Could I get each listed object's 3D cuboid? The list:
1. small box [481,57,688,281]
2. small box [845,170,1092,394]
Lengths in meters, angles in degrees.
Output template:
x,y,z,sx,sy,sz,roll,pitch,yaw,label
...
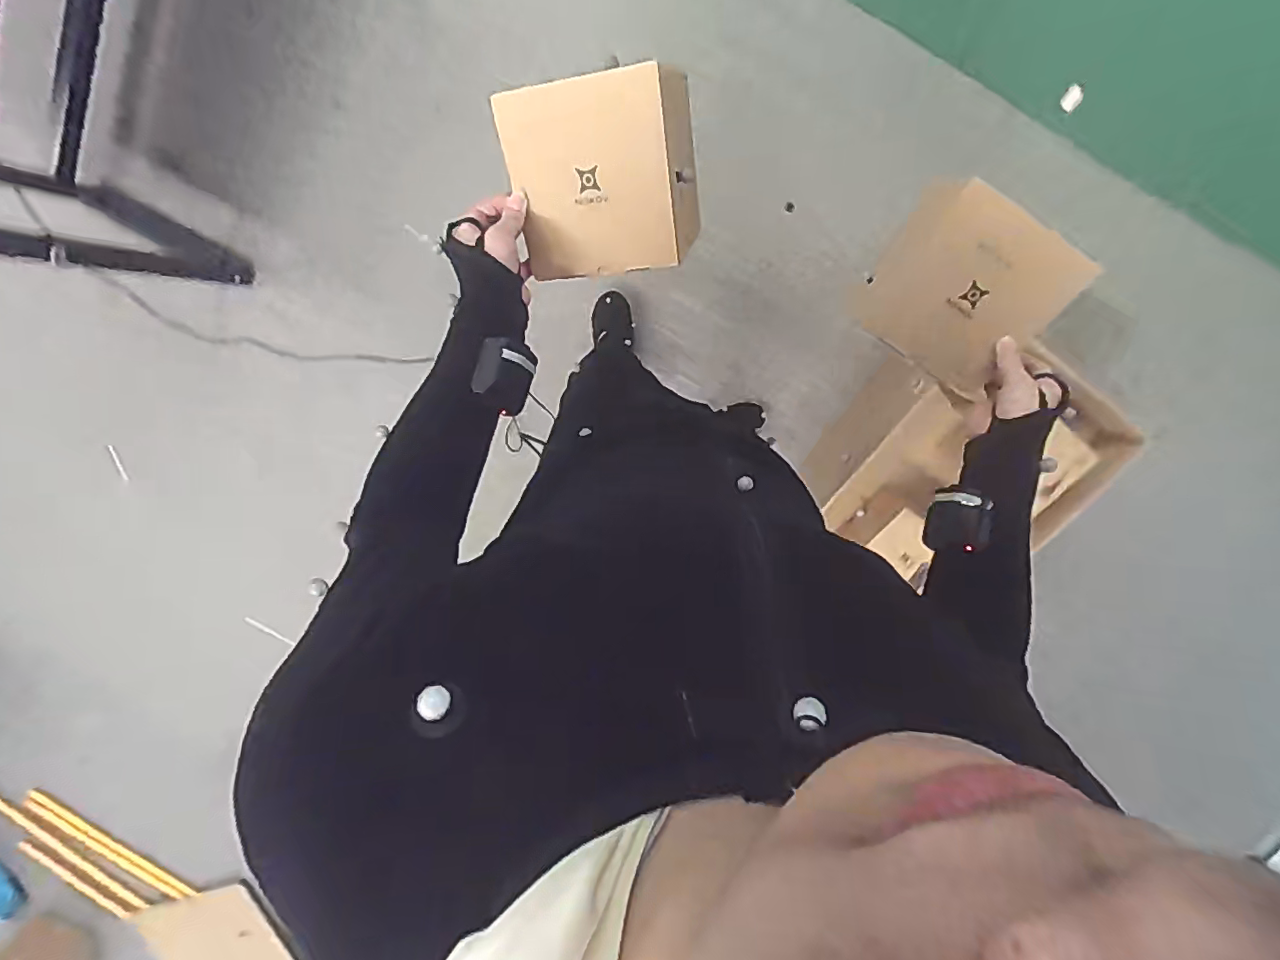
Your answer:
x,y,z,sx,sy,sz,roll,pitch,yaw,label
-0.045,-0.341,0.602,0.168,0.176,0.179,-2,125,16,small box
0.368,-0.239,0.650,0.168,0.176,0.179,33,121,-3,small box
